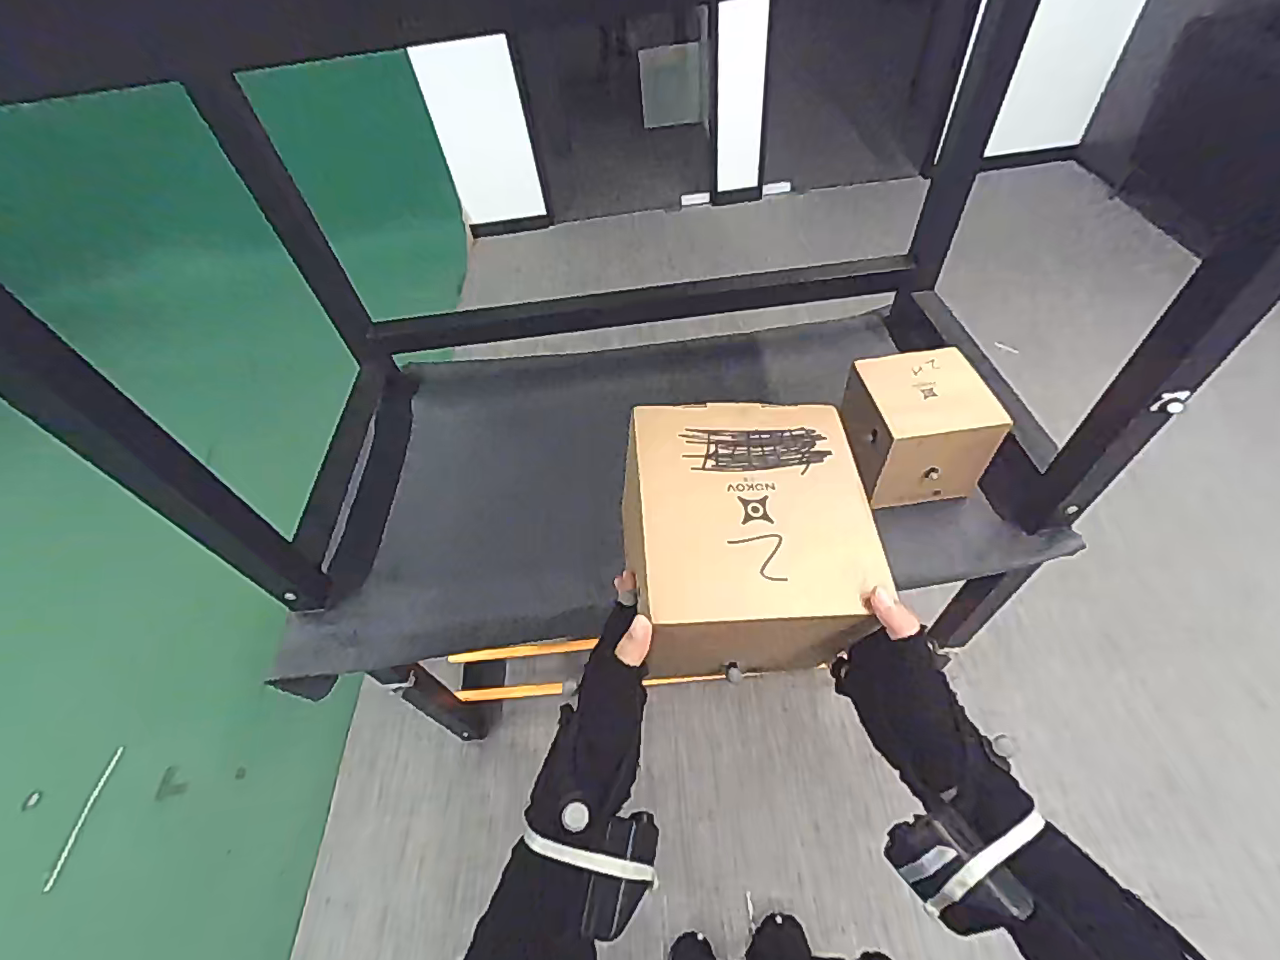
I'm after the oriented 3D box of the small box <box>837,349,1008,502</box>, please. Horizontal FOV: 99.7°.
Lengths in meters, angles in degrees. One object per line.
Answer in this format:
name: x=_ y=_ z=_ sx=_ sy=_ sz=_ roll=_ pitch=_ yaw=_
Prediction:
small box: x=0.431 y=-0.079 z=0.861 sx=0.168 sy=0.176 sz=0.179 roll=-8 pitch=50 yaw=1
